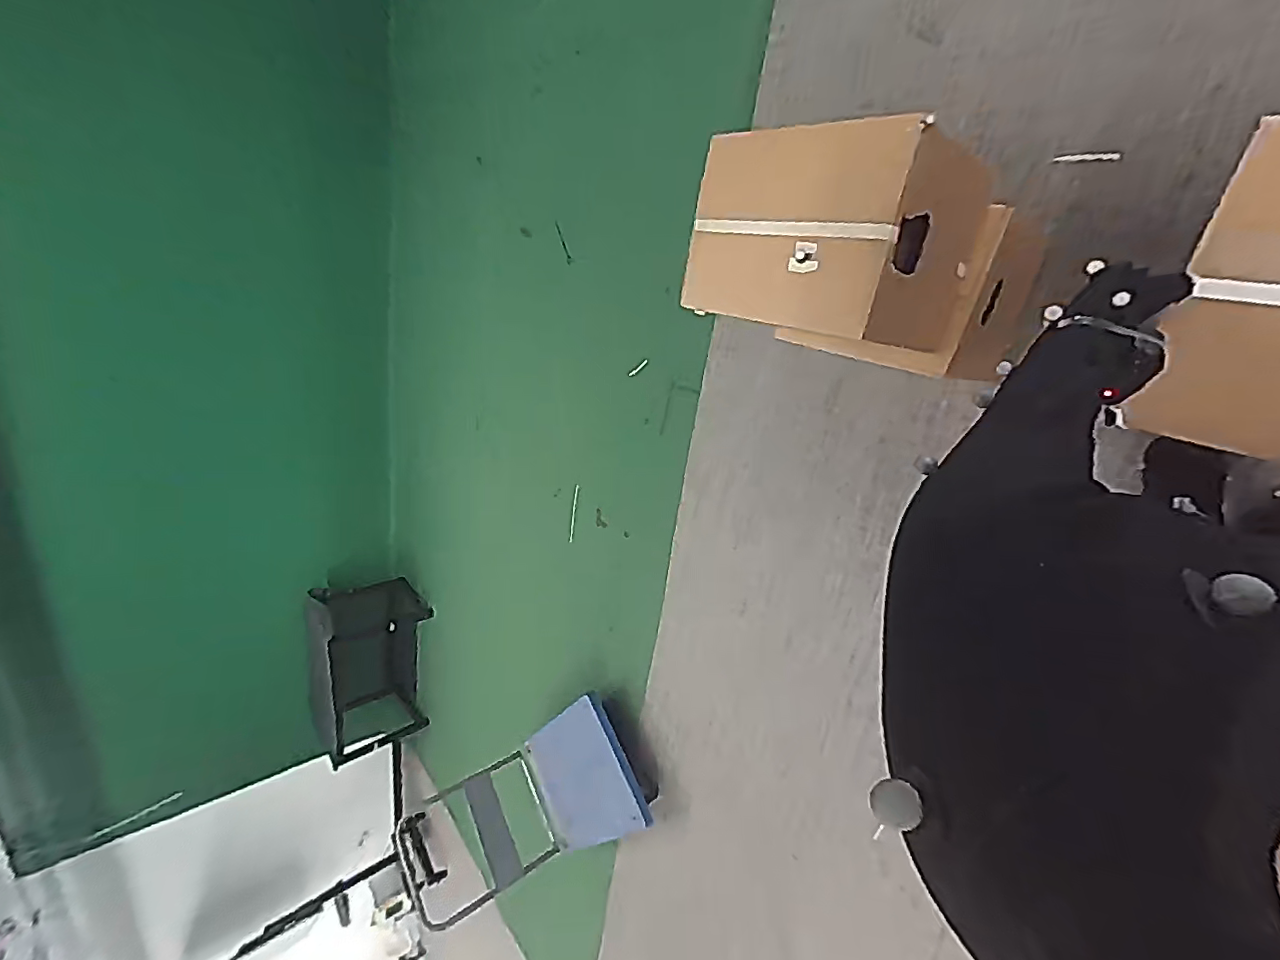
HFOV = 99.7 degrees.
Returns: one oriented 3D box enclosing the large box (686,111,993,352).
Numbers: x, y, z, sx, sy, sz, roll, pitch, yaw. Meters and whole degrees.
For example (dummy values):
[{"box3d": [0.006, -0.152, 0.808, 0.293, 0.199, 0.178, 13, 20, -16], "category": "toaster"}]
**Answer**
[{"box3d": [0.359, -0.443, 1.026, 0.408, 0.320, 0.320, 27, 114, 42], "category": "large box"}]
